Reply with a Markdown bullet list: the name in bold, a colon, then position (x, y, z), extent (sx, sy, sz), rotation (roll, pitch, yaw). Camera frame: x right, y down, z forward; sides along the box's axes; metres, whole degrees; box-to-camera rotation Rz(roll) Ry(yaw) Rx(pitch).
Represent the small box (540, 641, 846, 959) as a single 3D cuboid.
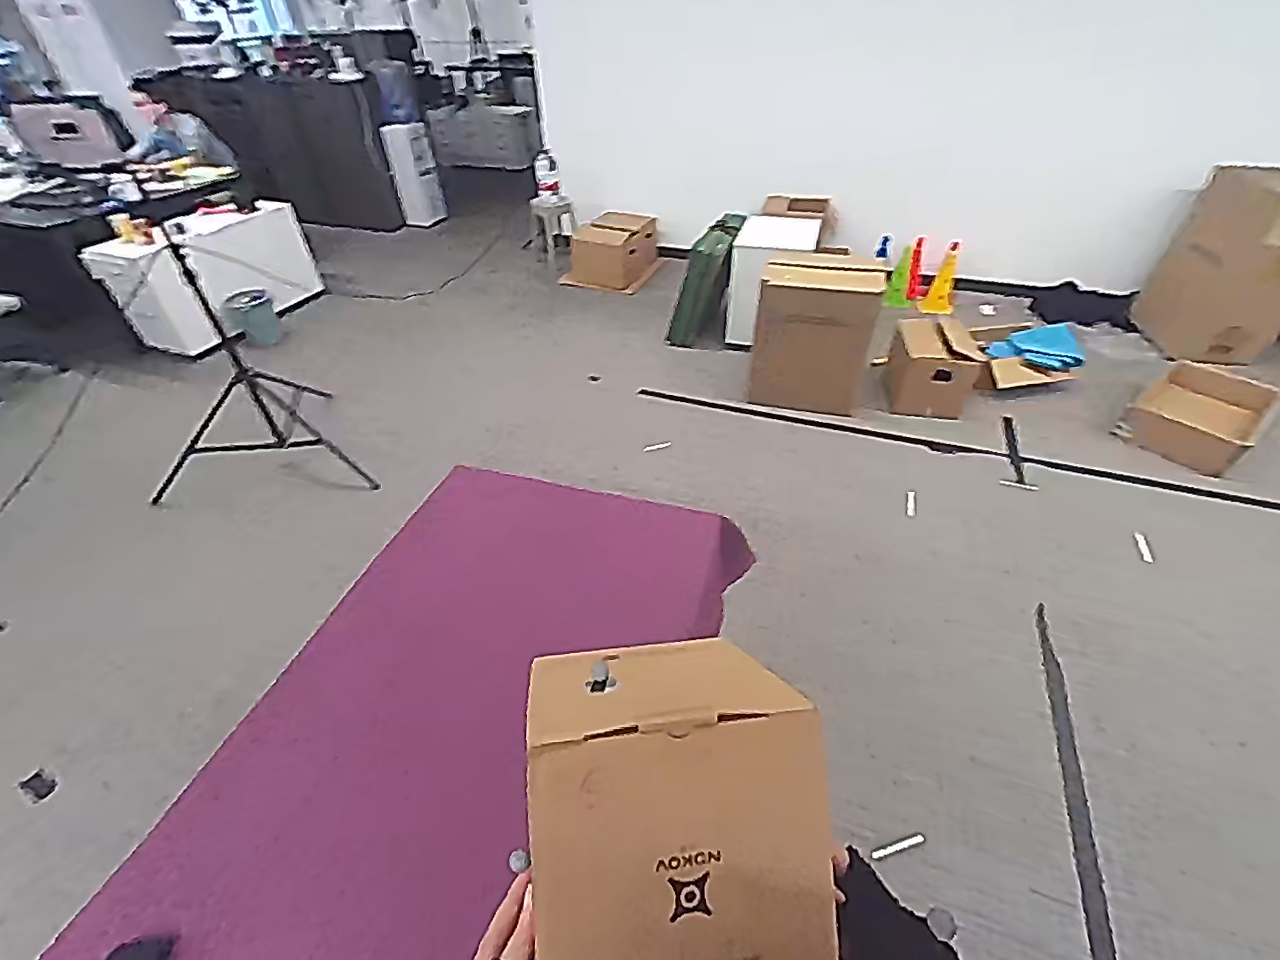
- **small box**: position (0.017, 0.214, 0.366), extent (0.168, 0.179, 0.176), rotation (-2, -2, -9)
